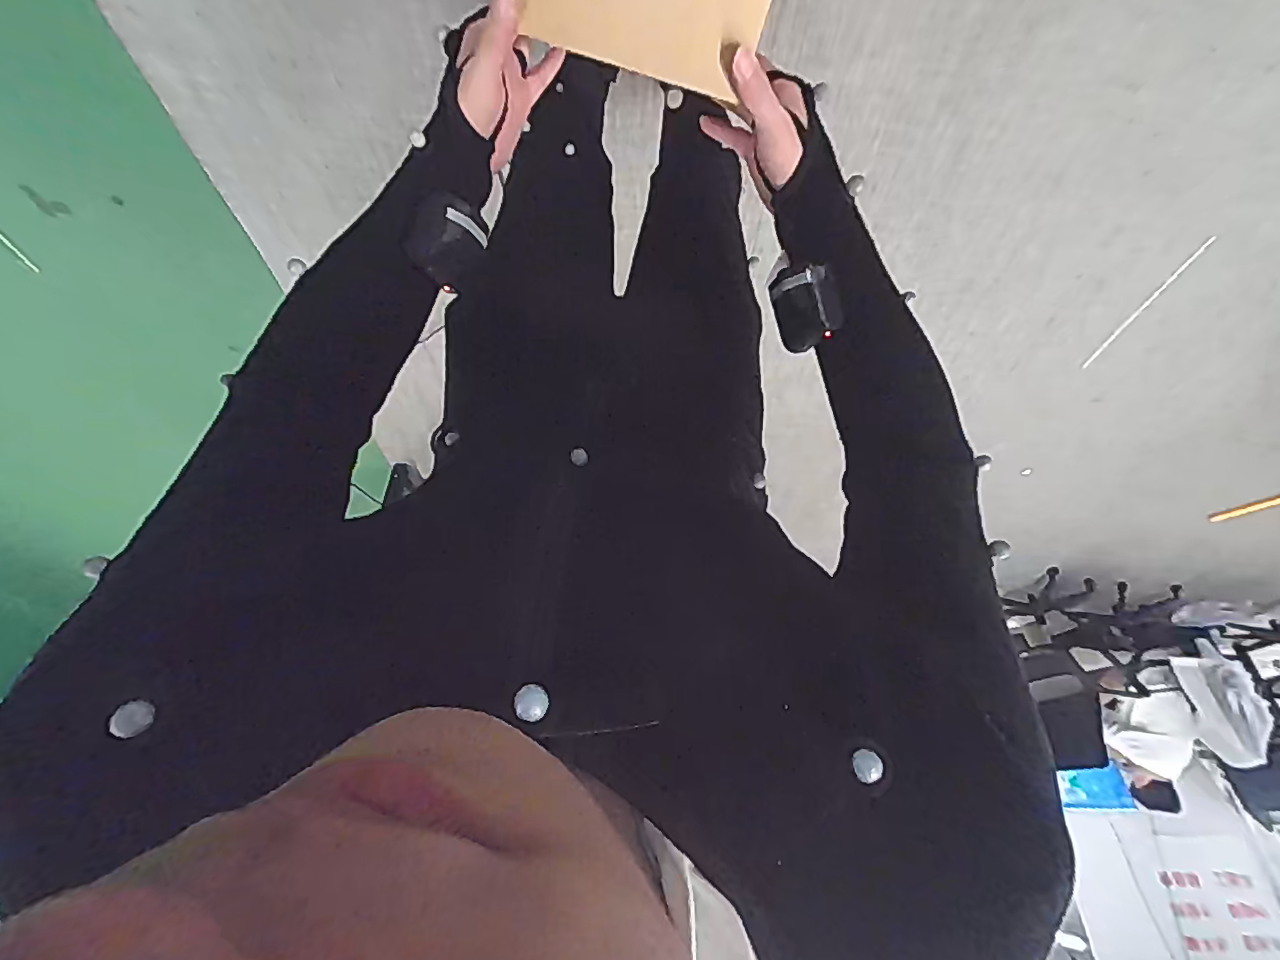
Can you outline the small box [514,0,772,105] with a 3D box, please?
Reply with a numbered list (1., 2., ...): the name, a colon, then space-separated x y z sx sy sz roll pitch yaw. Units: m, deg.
1. small box: 0.011 -0.417 0.410 0.179 0.176 0.168 10 130 -12
